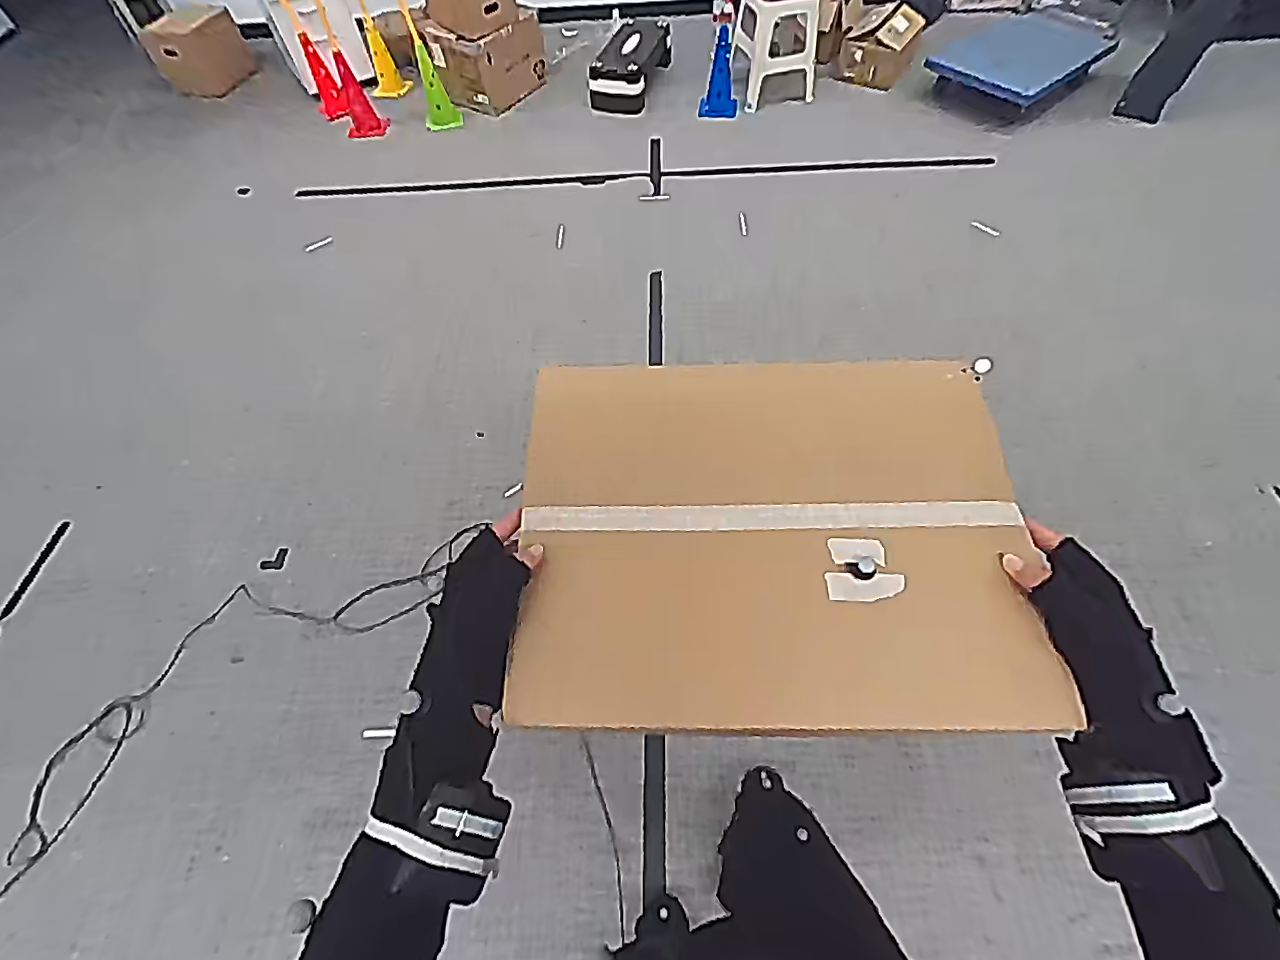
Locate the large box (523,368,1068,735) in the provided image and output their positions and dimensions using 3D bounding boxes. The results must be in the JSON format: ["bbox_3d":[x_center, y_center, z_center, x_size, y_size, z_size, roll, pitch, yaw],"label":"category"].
[{"bbox_3d":[0.112,0.099,0.589,0.408,0.320,0.320,-1,64,1],"label":"large box"}]
